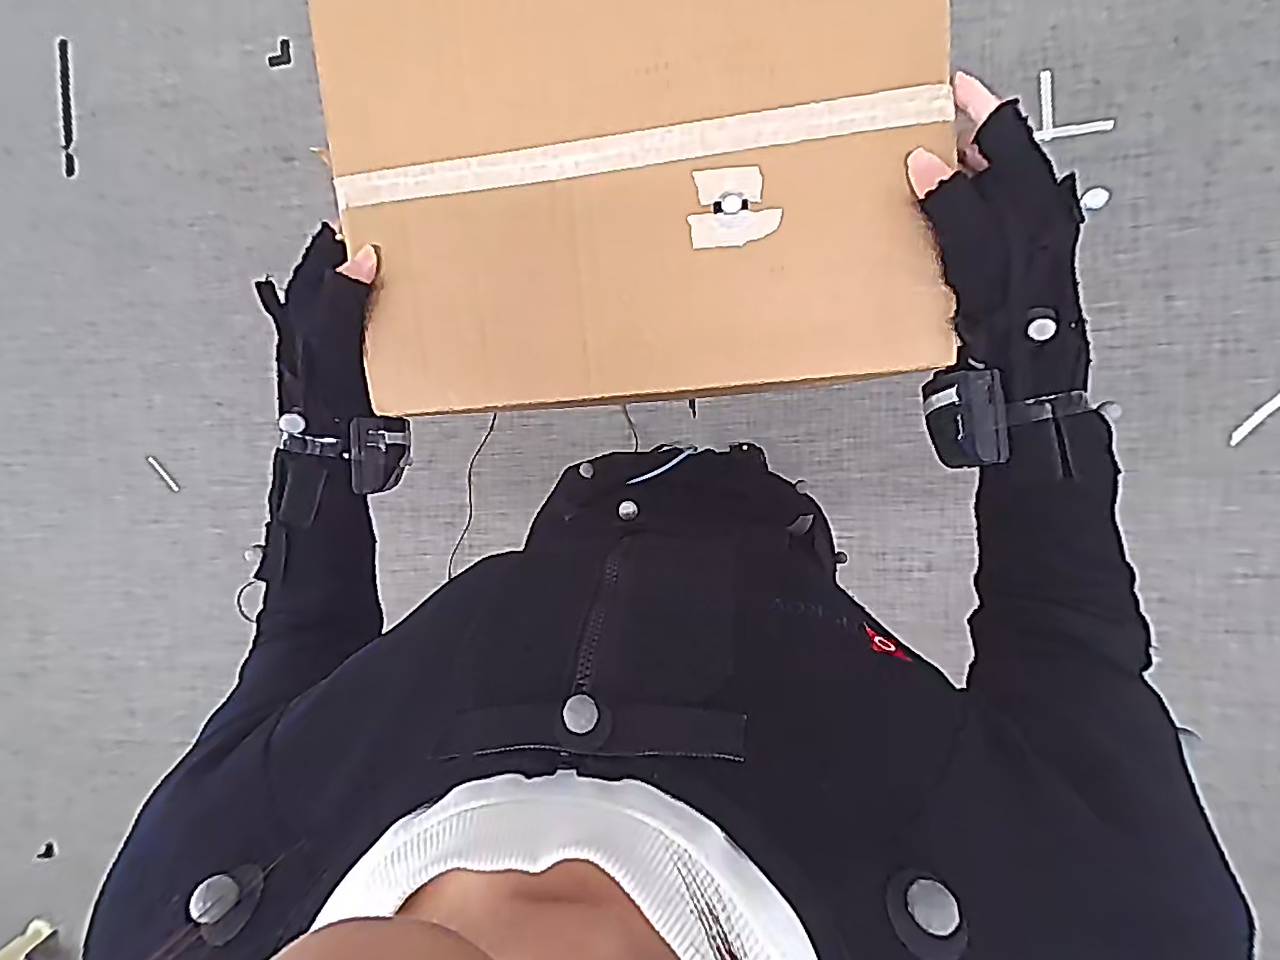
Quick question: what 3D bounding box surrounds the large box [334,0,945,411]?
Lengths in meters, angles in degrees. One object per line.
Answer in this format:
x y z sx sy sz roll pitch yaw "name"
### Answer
0.009 -0.241 0.516 0.408 0.320 0.320 -4 98 7 "large box"
